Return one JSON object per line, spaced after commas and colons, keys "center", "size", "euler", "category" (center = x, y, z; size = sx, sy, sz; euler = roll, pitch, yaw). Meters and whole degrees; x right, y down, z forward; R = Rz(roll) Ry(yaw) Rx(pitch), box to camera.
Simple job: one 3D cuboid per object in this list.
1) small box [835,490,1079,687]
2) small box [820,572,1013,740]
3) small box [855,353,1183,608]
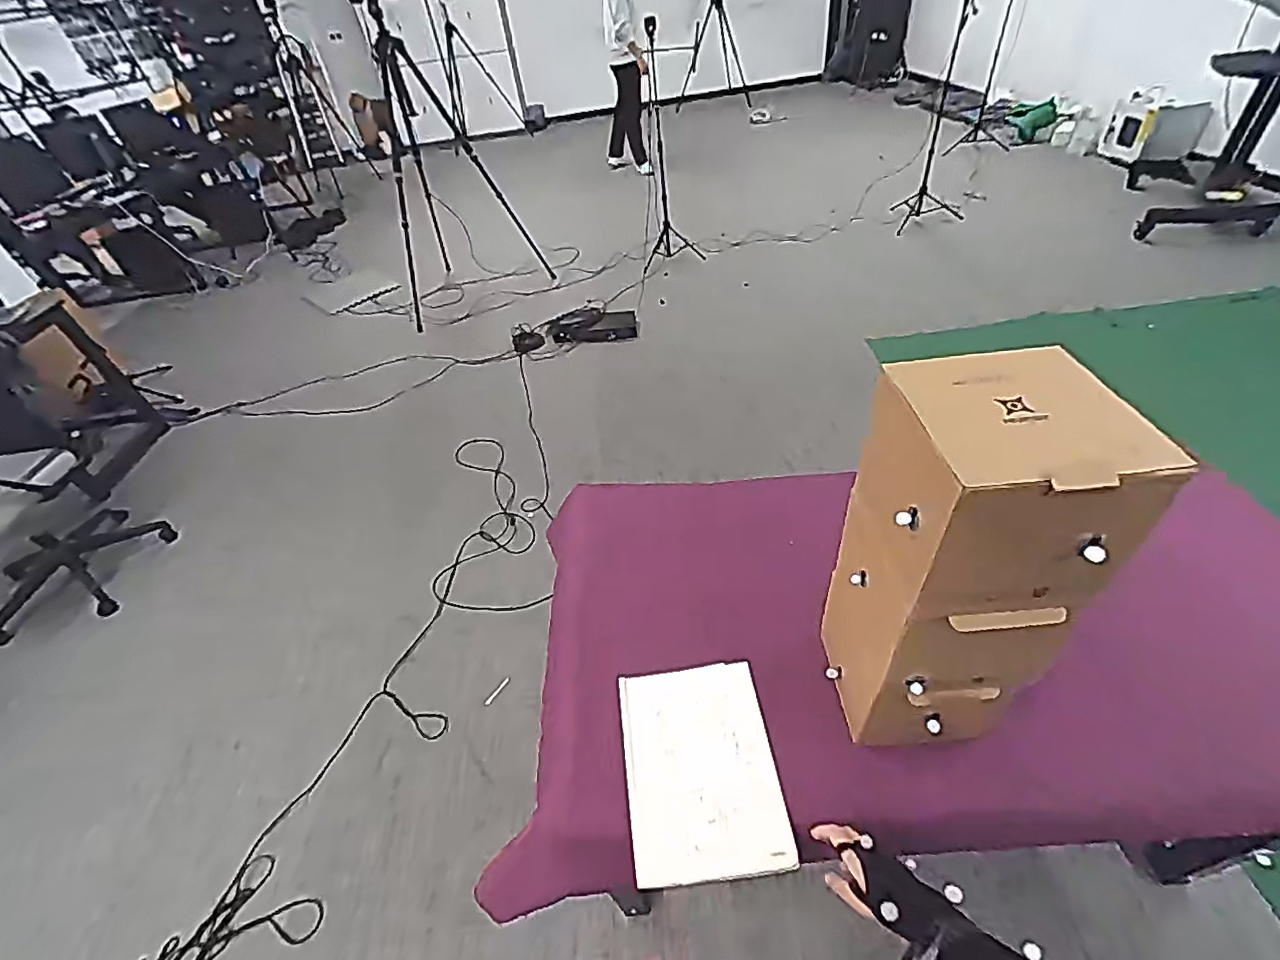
{"center": [0.335, 0.121, 0.618], "size": [0.168, 0.176, 0.179], "euler": [-6, 42, 4], "category": "small box"}
{"center": [0.354, 0.237, 0.734], "size": [0.168, 0.176, 0.179], "euler": [-5, 43, 3], "category": "small box"}
{"center": [0.317, 0.005, 0.505], "size": [0.168, 0.176, 0.179], "euler": [-5, 42, 4], "category": "small box"}
